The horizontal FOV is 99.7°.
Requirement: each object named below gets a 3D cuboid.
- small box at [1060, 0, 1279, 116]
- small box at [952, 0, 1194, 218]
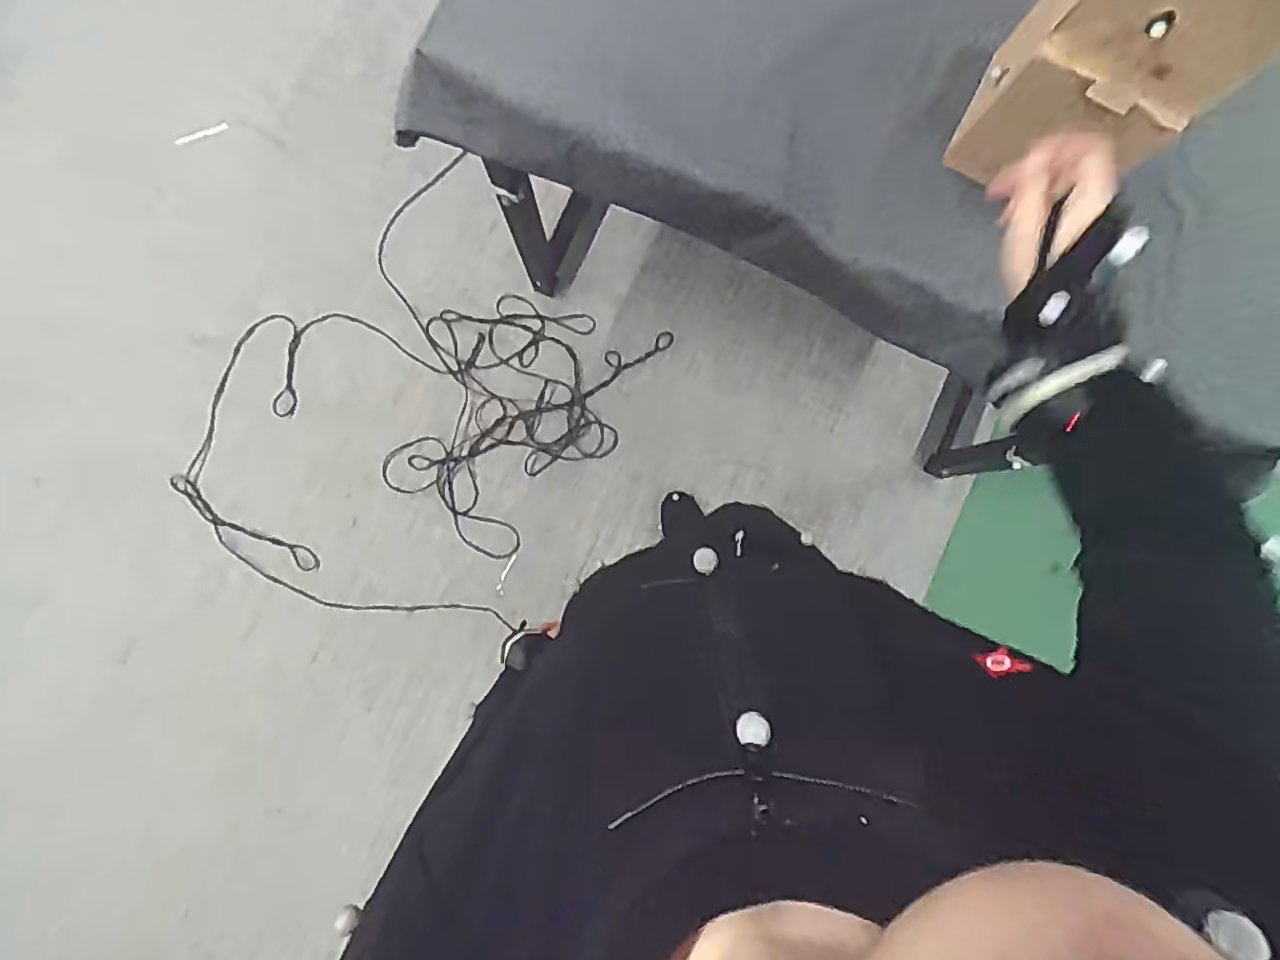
[{"bbox_3d":[0.517,-0.470,0.459,0.168,0.176,0.179,29,86,0],"label":"small box"},{"bbox_3d":[0.500,-0.444,0.619,0.168,0.176,0.179,28,84,0],"label":"small box"}]
